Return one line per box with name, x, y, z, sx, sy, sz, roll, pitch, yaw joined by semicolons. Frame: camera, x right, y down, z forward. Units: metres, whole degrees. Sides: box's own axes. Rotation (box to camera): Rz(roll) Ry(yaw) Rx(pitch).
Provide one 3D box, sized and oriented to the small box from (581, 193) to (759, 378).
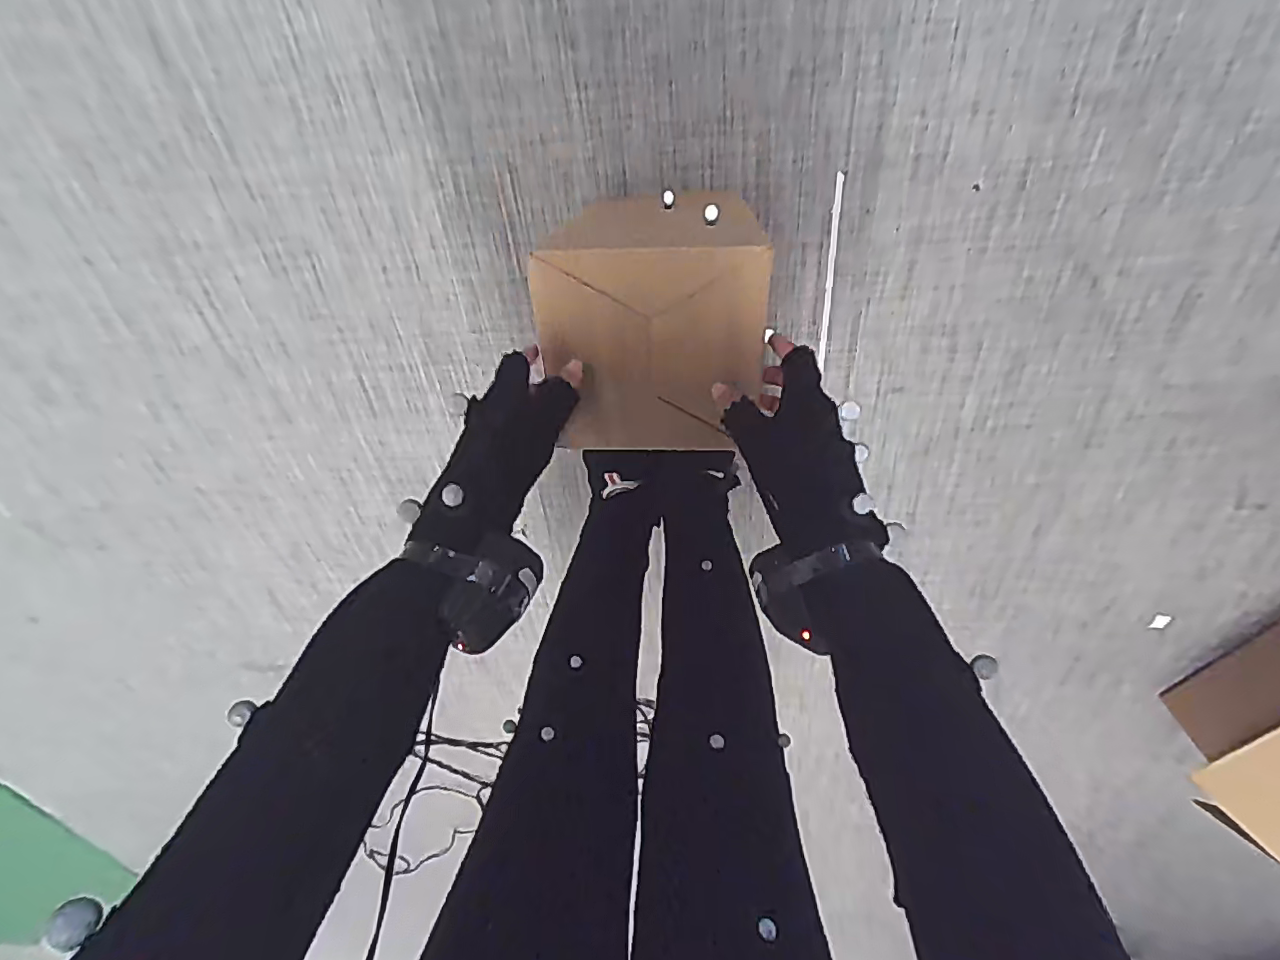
small box;0.039;-0.230;0.632;0.179;0.176;0.168;-1;123;7
